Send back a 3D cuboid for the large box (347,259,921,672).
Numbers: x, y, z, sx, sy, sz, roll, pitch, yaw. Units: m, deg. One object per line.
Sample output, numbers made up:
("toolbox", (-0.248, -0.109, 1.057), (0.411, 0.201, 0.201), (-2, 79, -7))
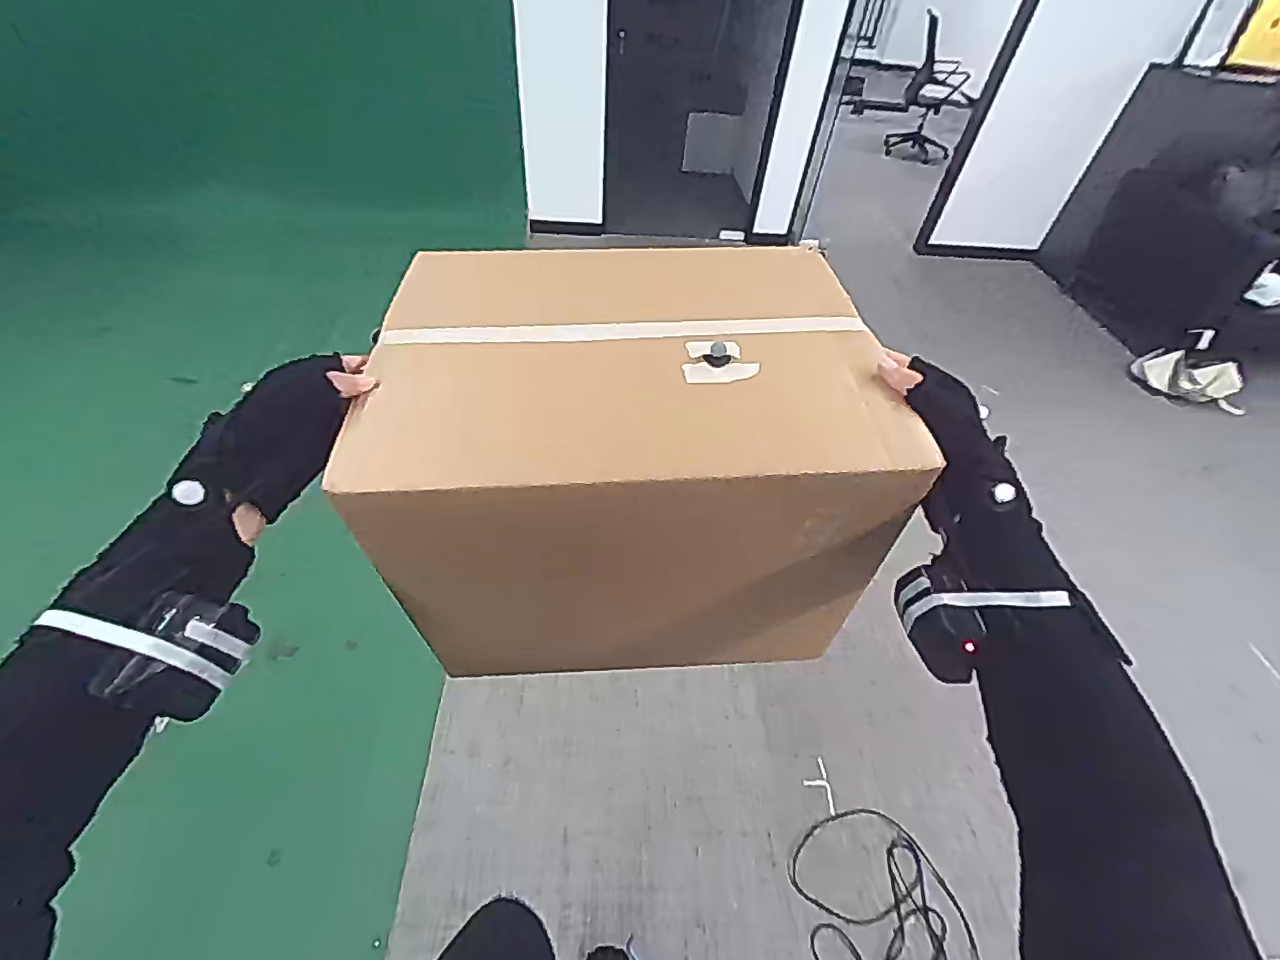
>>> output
("large box", (-0.013, -0.015, 0.574), (0.408, 0.320, 0.320), (-2, 49, -3))
